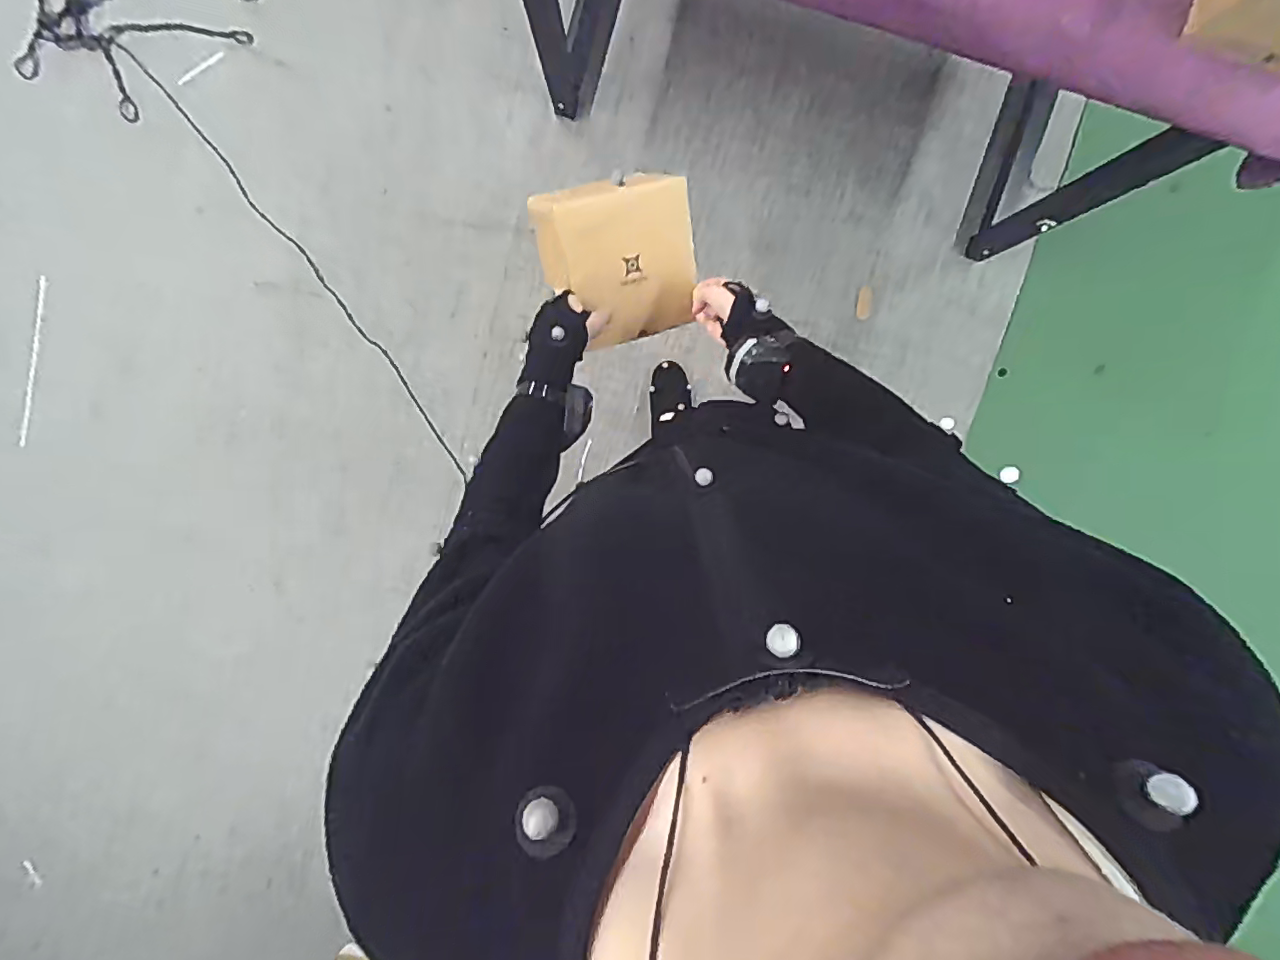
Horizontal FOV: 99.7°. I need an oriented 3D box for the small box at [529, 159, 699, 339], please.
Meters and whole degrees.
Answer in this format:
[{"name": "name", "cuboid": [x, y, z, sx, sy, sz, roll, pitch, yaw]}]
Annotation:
[{"name": "small box", "cuboid": [-0.037, -0.309, 0.708, 0.168, 0.176, 0.179, -18, 126, -11]}]
